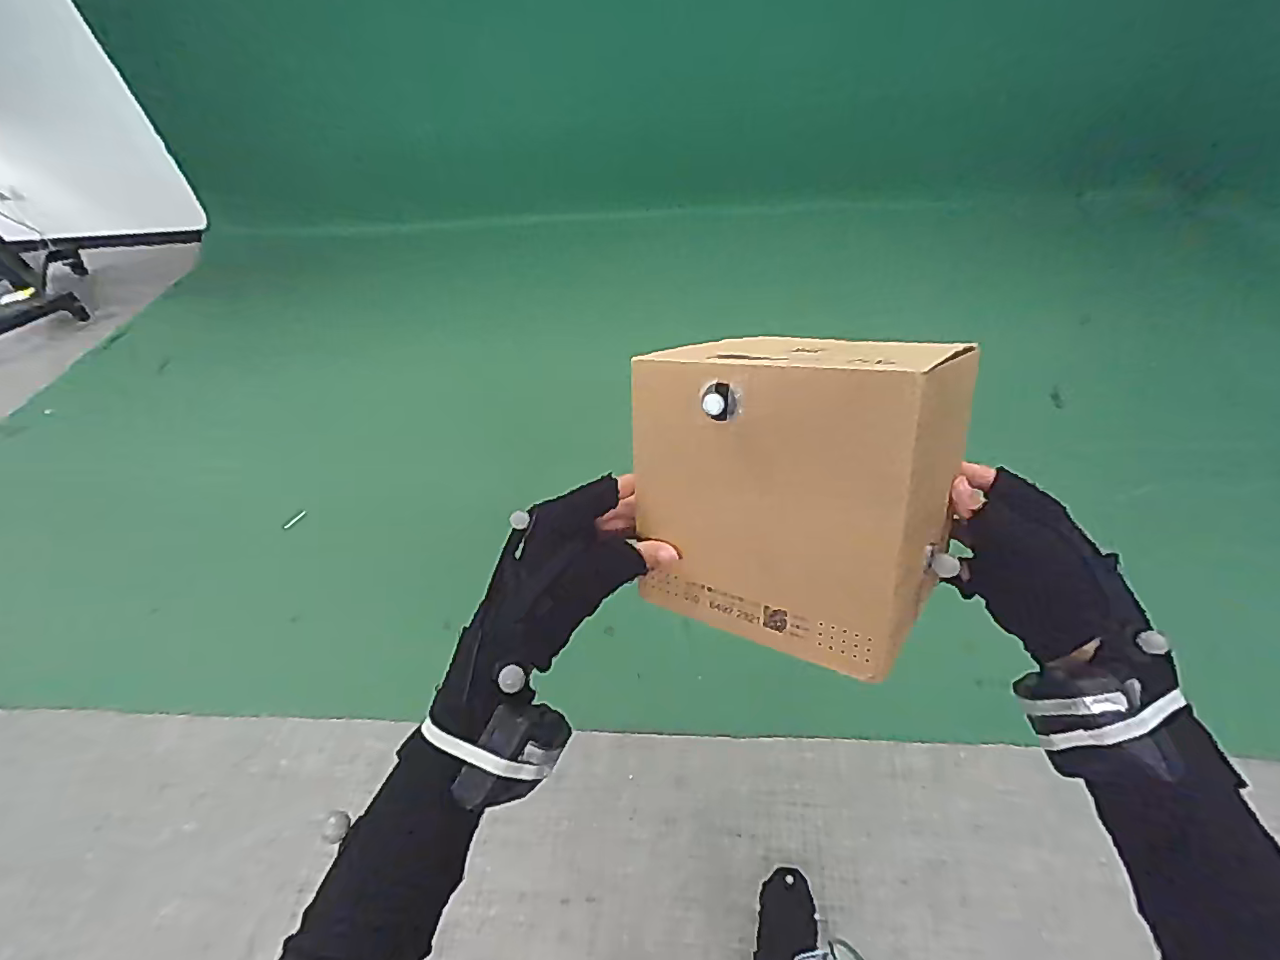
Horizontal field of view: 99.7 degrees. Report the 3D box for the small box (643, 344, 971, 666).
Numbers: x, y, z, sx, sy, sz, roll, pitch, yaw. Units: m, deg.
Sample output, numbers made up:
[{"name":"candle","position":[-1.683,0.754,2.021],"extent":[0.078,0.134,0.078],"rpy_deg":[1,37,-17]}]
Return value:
[{"name":"small box","position":[0.115,-0.004,0.382],"extent":[0.168,0.176,0.179],"rpy_deg":[11,21,36]}]
